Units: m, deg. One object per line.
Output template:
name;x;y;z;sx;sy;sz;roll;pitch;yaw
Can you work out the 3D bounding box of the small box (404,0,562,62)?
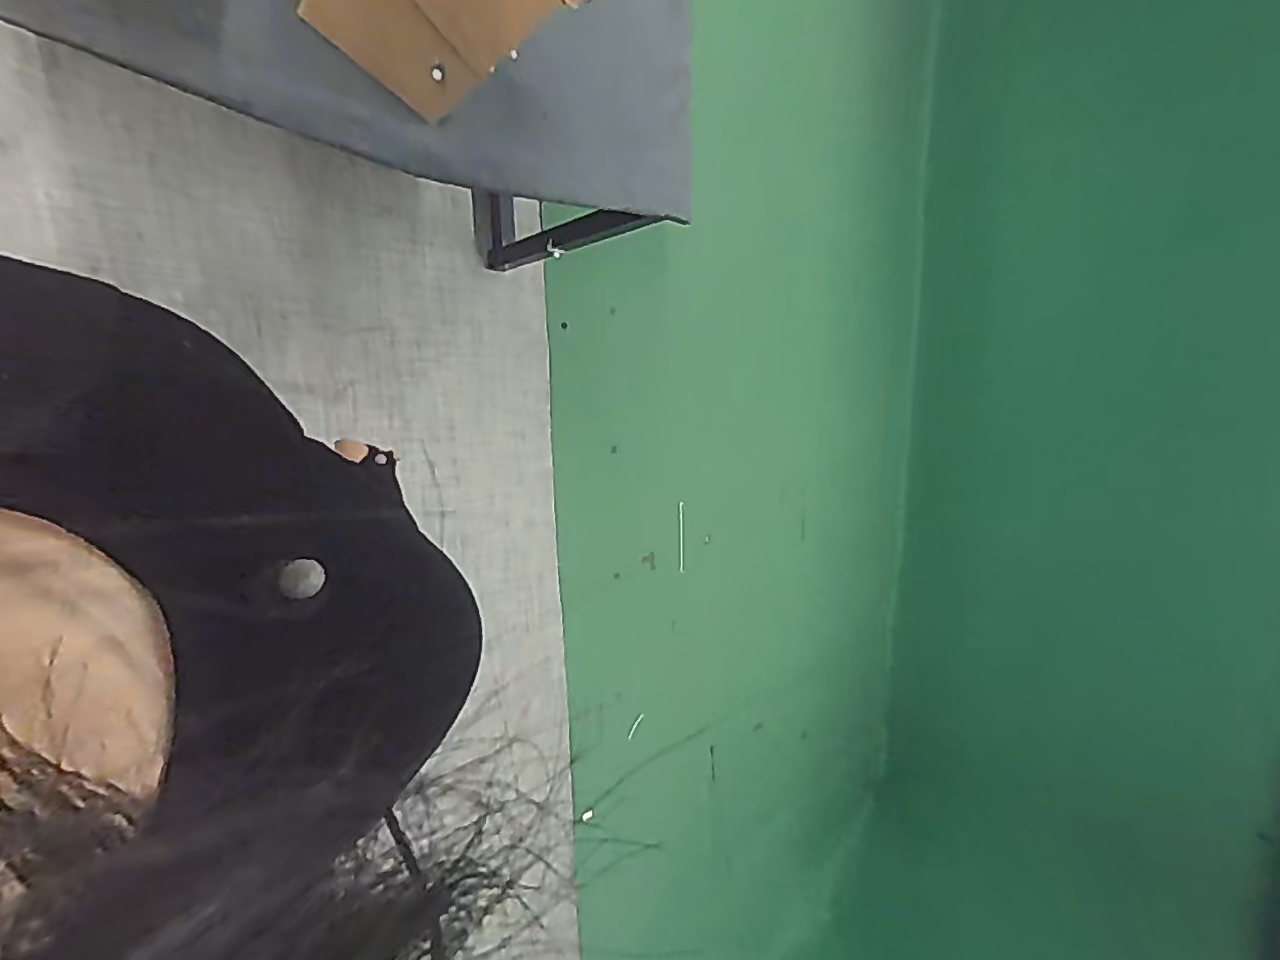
small box;-0.159;-0.561;0.530;0.179;0.176;0.168;35;71;-41
